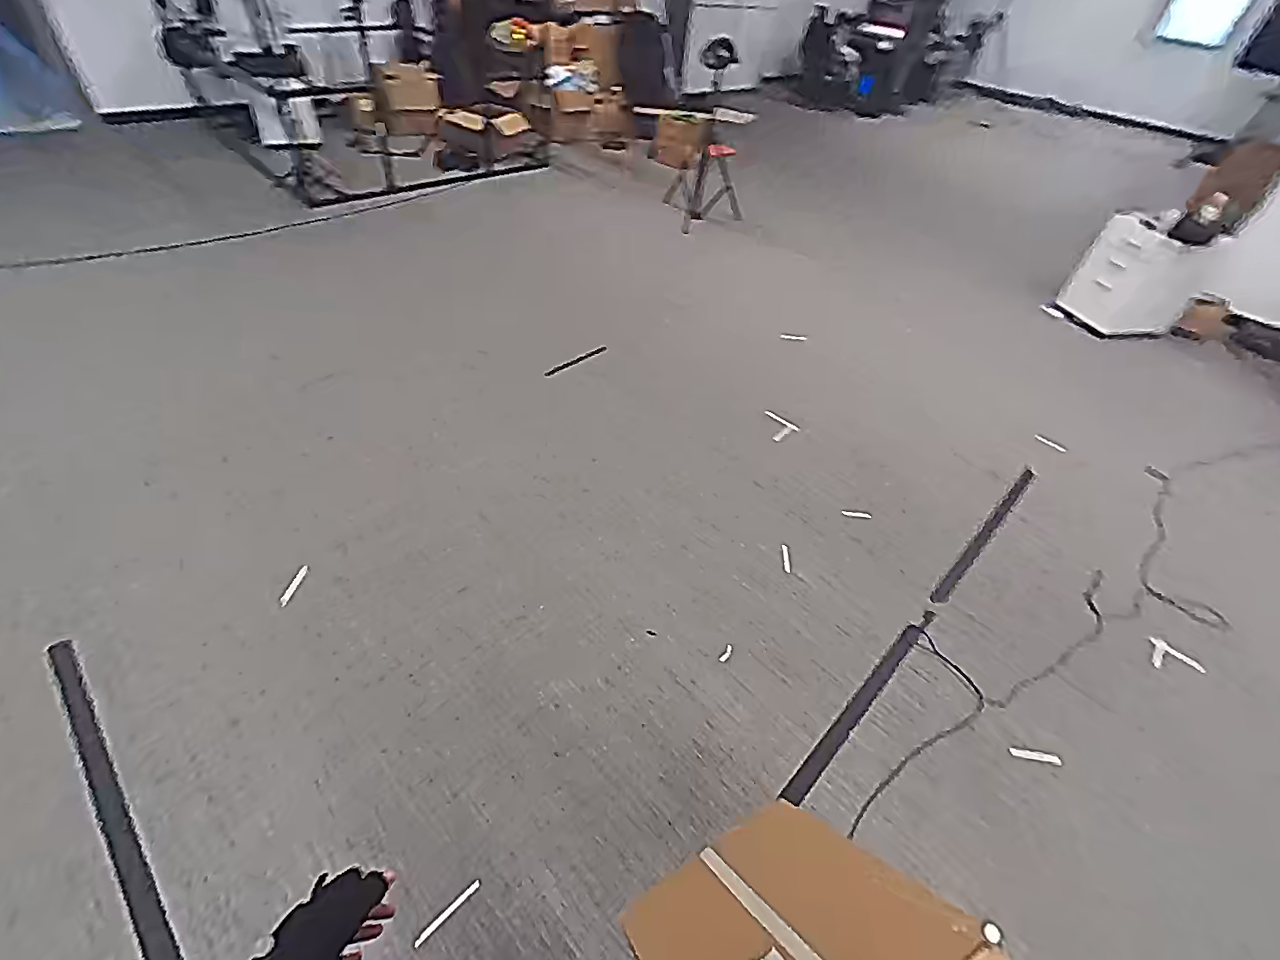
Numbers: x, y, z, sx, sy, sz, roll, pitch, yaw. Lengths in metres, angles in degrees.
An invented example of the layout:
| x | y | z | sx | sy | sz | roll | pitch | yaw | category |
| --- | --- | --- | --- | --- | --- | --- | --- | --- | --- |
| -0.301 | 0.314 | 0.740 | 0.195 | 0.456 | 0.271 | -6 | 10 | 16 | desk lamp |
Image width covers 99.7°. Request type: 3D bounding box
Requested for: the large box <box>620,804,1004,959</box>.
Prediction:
| x | y | z | sx | sy | sz | roll | pitch | yaw | category |
| --- | --- | --- | --- | --- | --- | --- | --- | --- | --- |
| 0.220 | 0.686 | 0.655 | 0.320 | 0.408 | 0.320 | -22 | 86 | -21 | large box |
